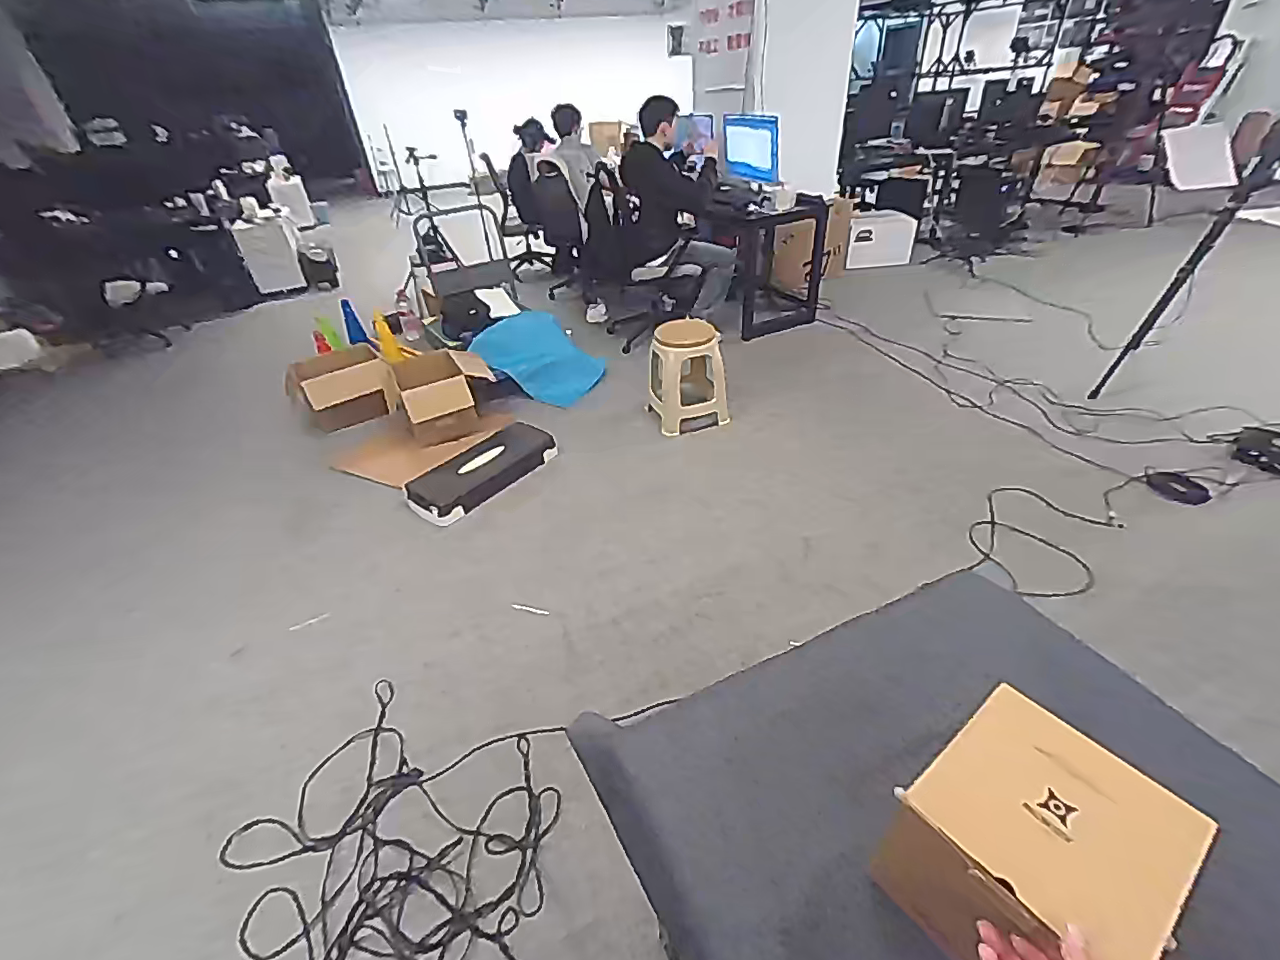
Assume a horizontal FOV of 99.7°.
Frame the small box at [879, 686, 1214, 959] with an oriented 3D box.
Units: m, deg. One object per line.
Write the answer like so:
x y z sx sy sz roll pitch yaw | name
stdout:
0.342 0.336 0.487 0.179 0.176 0.168 -25 42 -28 | small box
